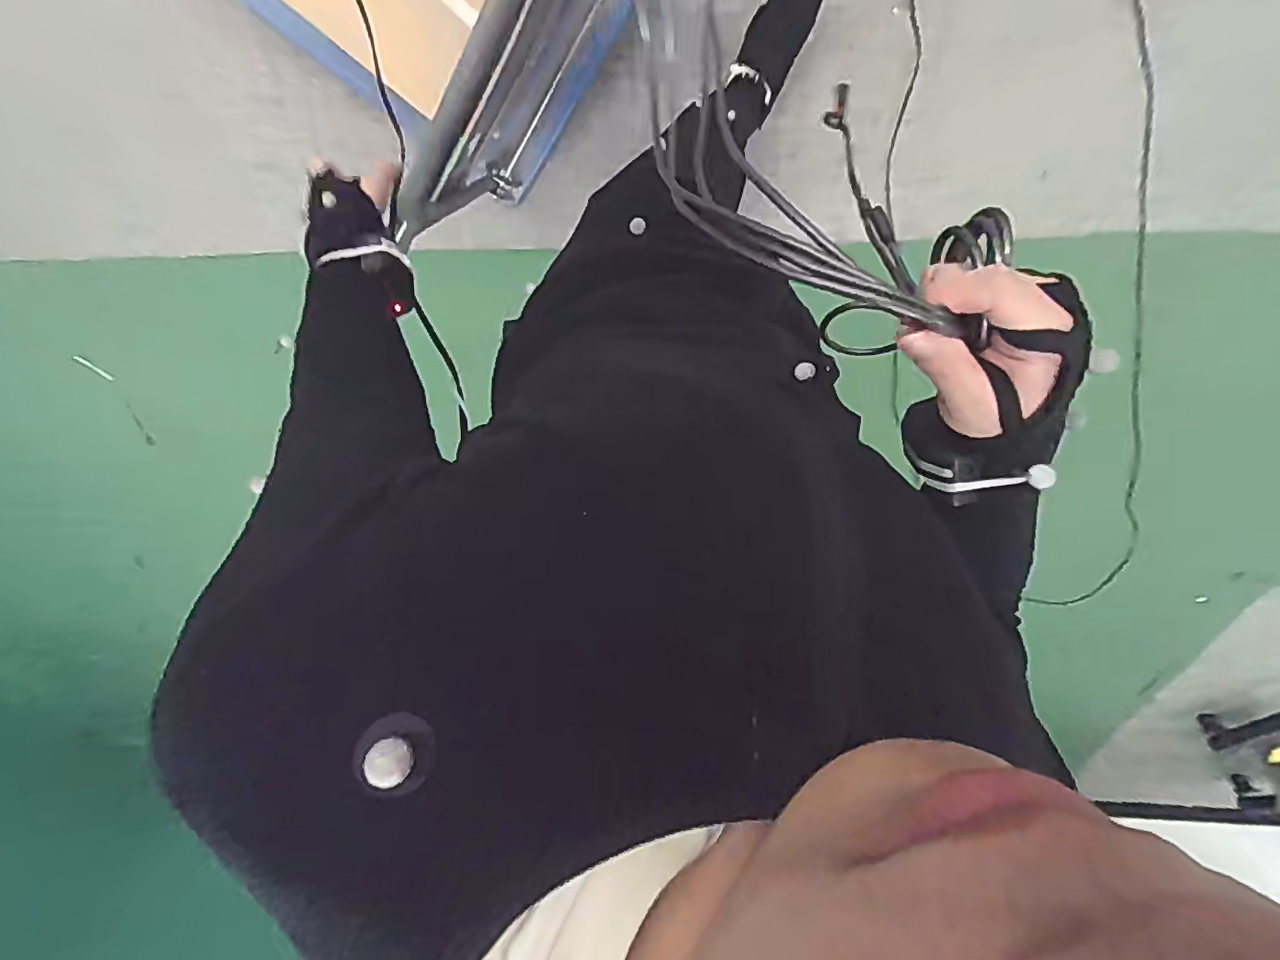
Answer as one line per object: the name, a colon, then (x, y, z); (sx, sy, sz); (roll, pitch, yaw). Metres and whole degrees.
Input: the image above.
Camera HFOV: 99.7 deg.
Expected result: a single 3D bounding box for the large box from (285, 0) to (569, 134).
large box: (-0.342, -0.833, 0.839); (0.408, 0.320, 0.320); (34, 123, -19)
